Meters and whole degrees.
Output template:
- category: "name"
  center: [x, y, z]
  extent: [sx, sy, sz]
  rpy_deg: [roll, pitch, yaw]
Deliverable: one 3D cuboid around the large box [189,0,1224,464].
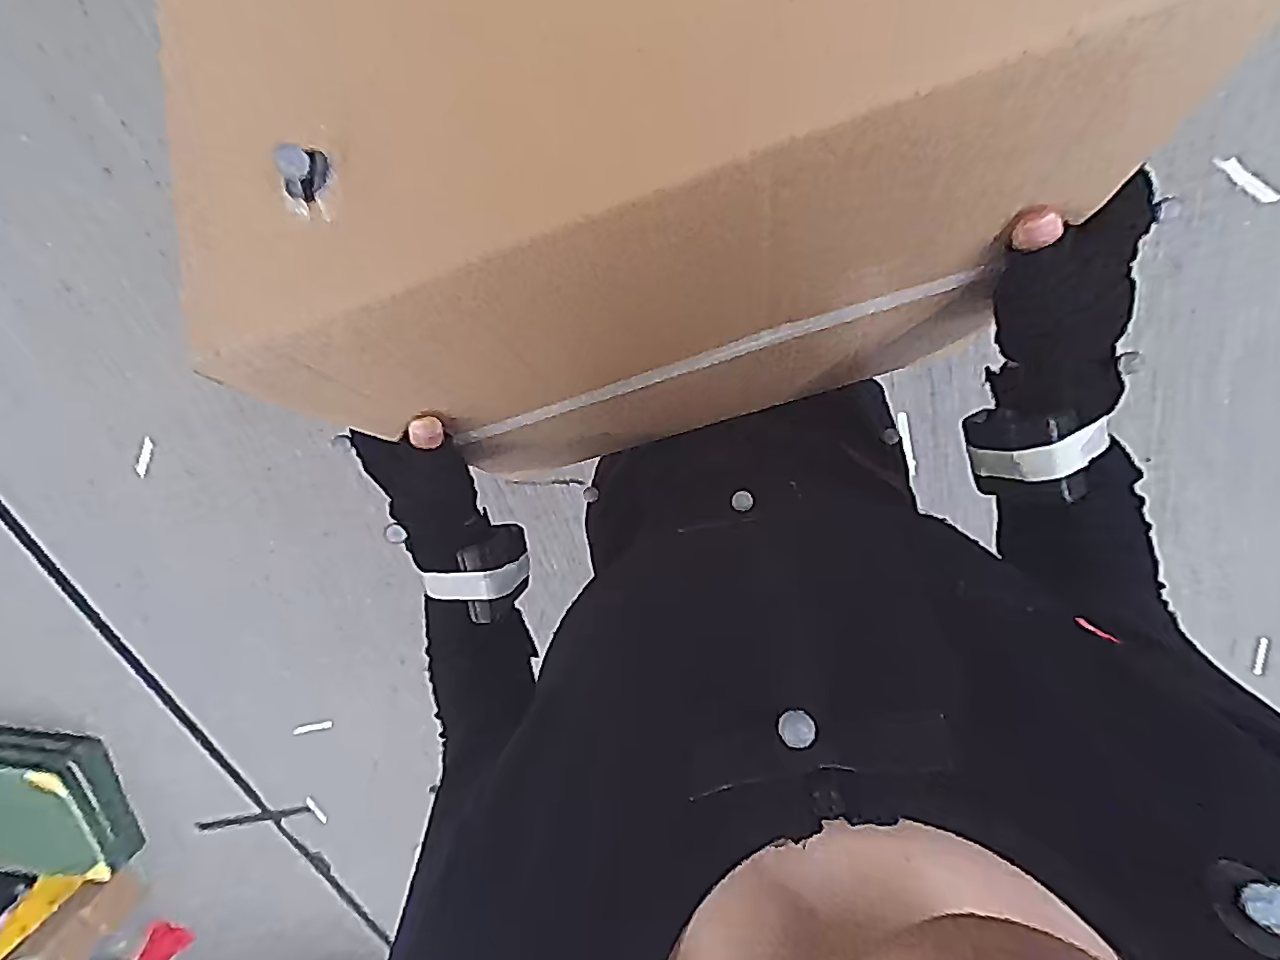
- category: "large box"
  center: [0.002, -0.235, 0.368]
  extent: [0.408, 0.320, 0.320]
  rpy_deg: [-16, 79, 9]
